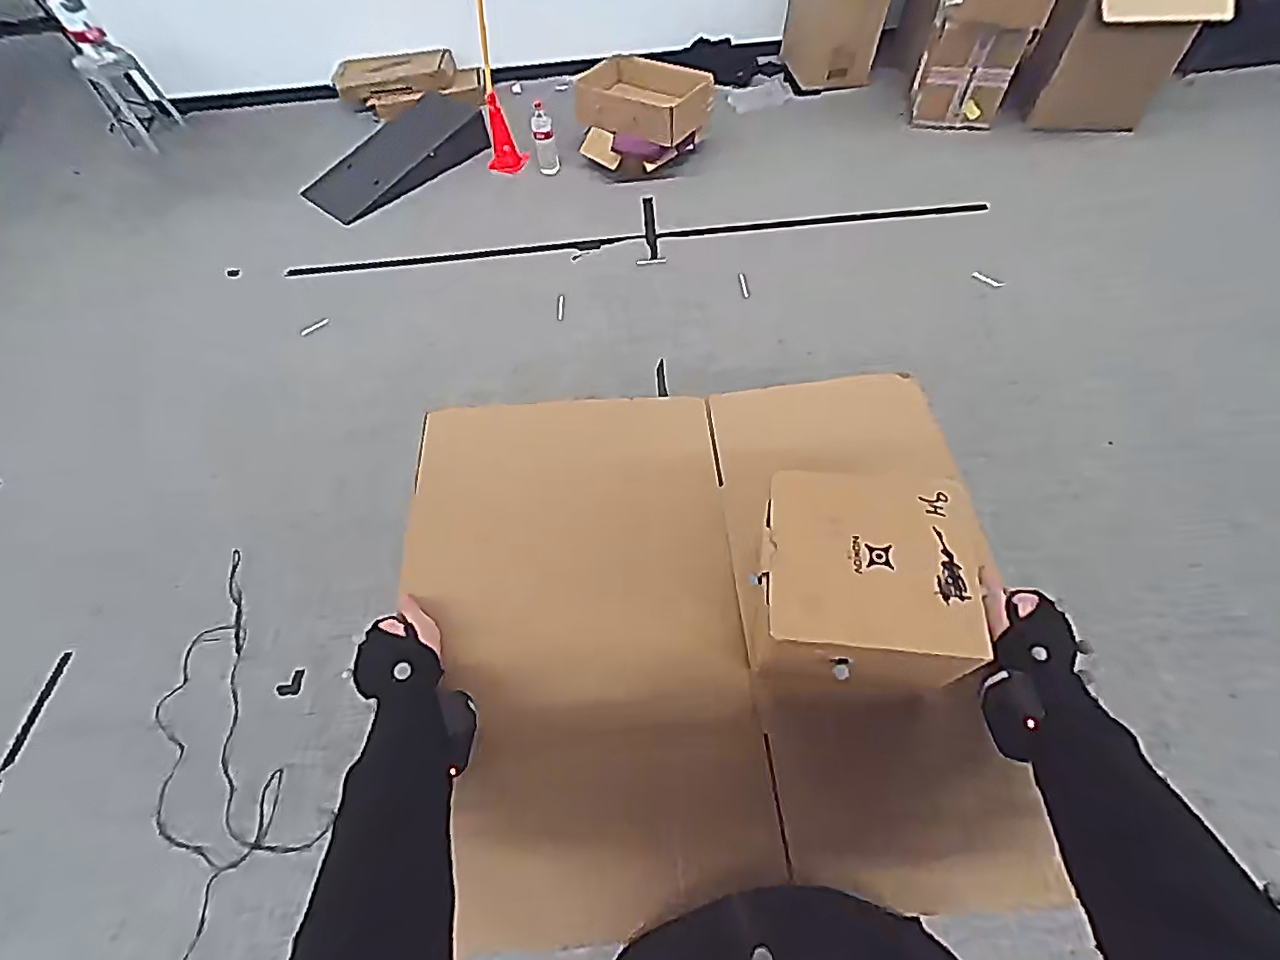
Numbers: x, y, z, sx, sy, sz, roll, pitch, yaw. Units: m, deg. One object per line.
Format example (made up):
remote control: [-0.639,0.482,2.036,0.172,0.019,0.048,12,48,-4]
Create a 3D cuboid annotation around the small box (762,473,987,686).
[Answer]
small box: [0.218,0.107,0.556,0.179,0.176,0.168,2,61,11]
